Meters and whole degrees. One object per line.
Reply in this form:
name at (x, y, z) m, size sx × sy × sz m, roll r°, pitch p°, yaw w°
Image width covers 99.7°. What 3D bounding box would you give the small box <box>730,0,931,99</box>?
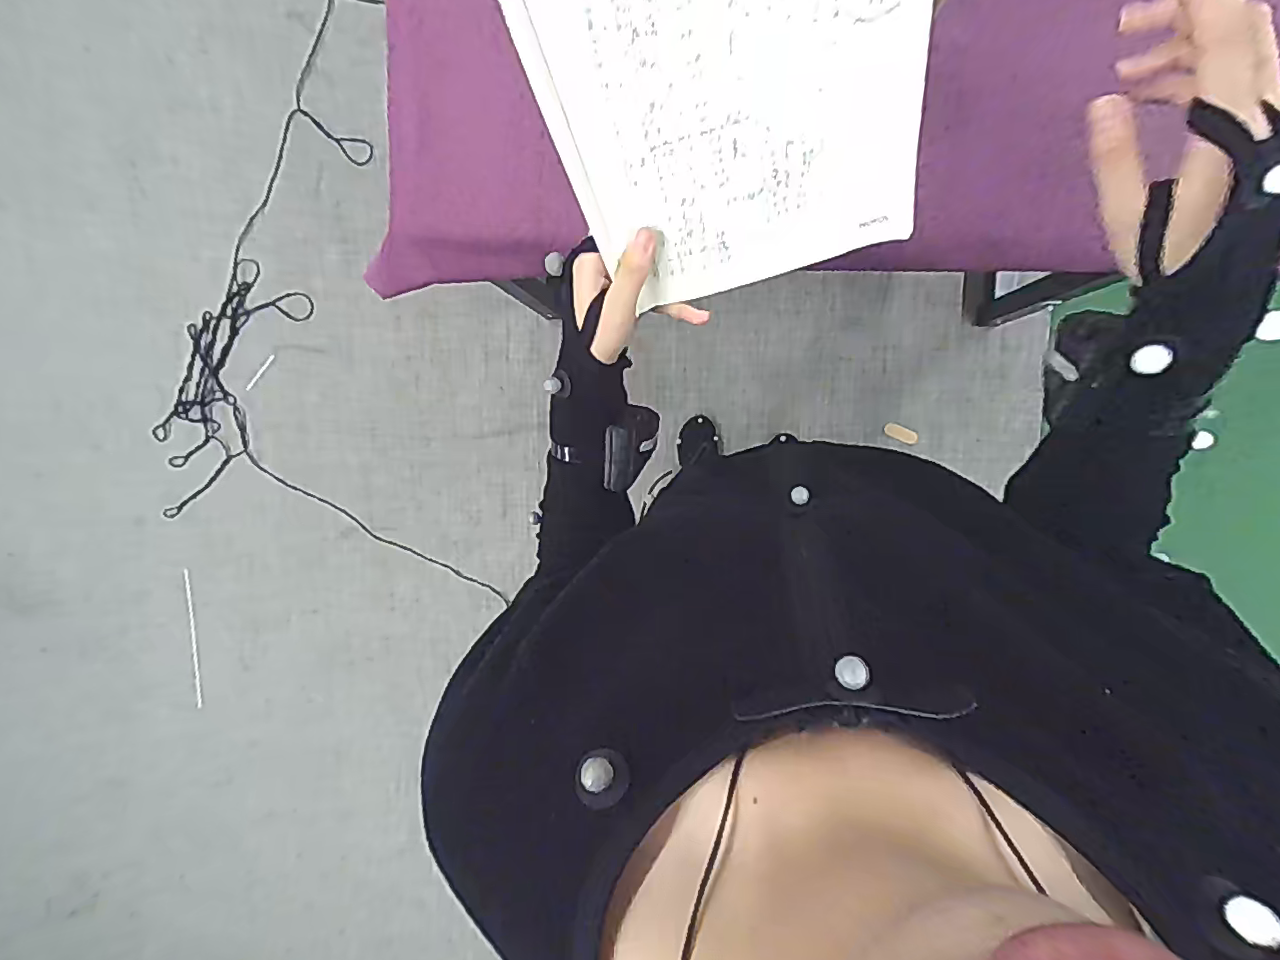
small box at (0.168, -0.472, 0.480) m, size 0.168 × 0.176 × 0.179 m, roll 3°, pitch 94°, yaw 7°
